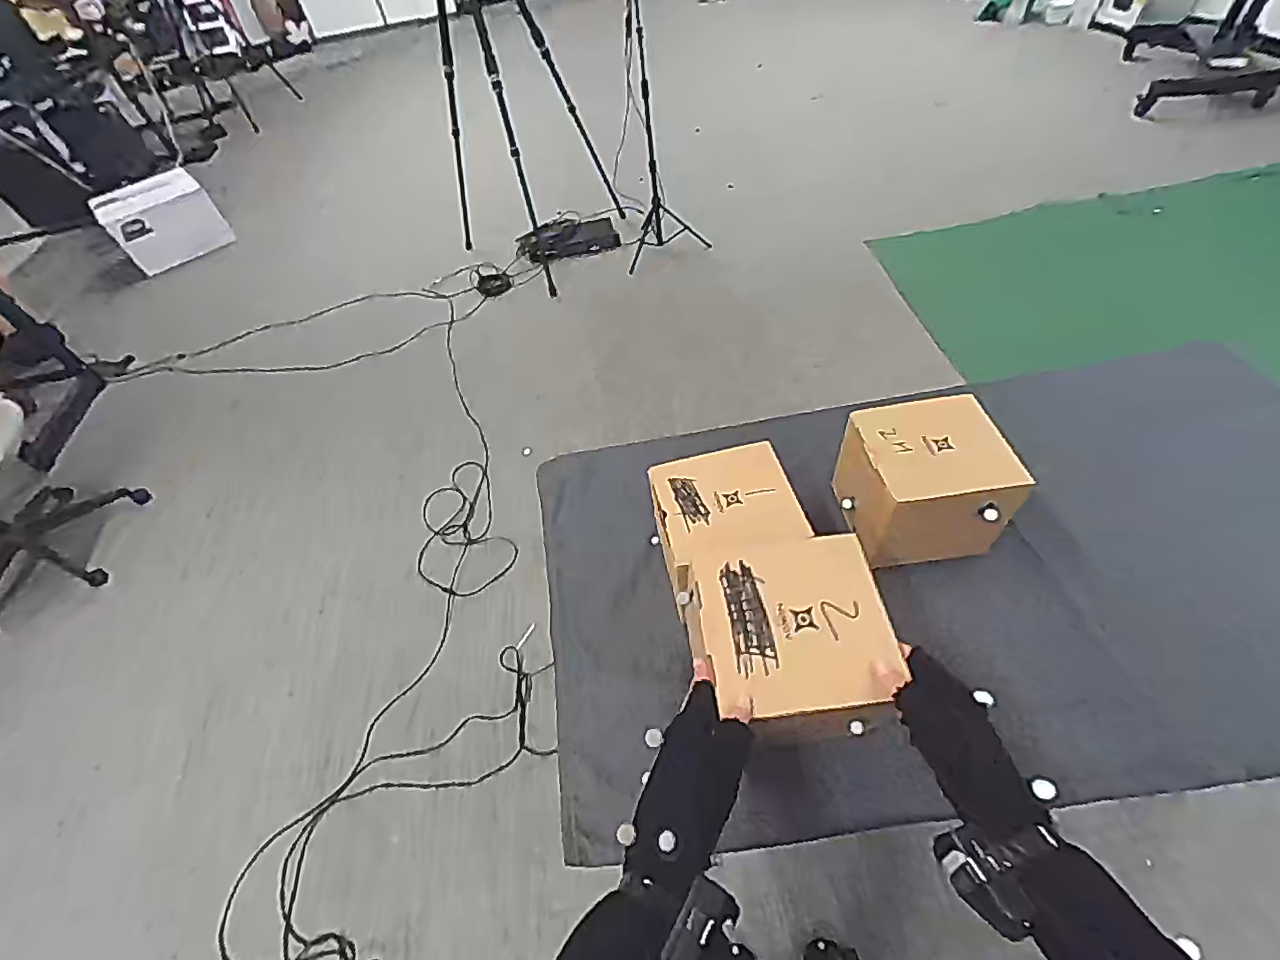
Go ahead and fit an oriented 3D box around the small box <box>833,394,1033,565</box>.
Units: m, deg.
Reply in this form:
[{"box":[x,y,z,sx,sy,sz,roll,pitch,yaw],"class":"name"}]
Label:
[{"box":[0.397,0.003,0.771,0.179,0.176,0.168,-8,51,2],"class":"small box"}]
